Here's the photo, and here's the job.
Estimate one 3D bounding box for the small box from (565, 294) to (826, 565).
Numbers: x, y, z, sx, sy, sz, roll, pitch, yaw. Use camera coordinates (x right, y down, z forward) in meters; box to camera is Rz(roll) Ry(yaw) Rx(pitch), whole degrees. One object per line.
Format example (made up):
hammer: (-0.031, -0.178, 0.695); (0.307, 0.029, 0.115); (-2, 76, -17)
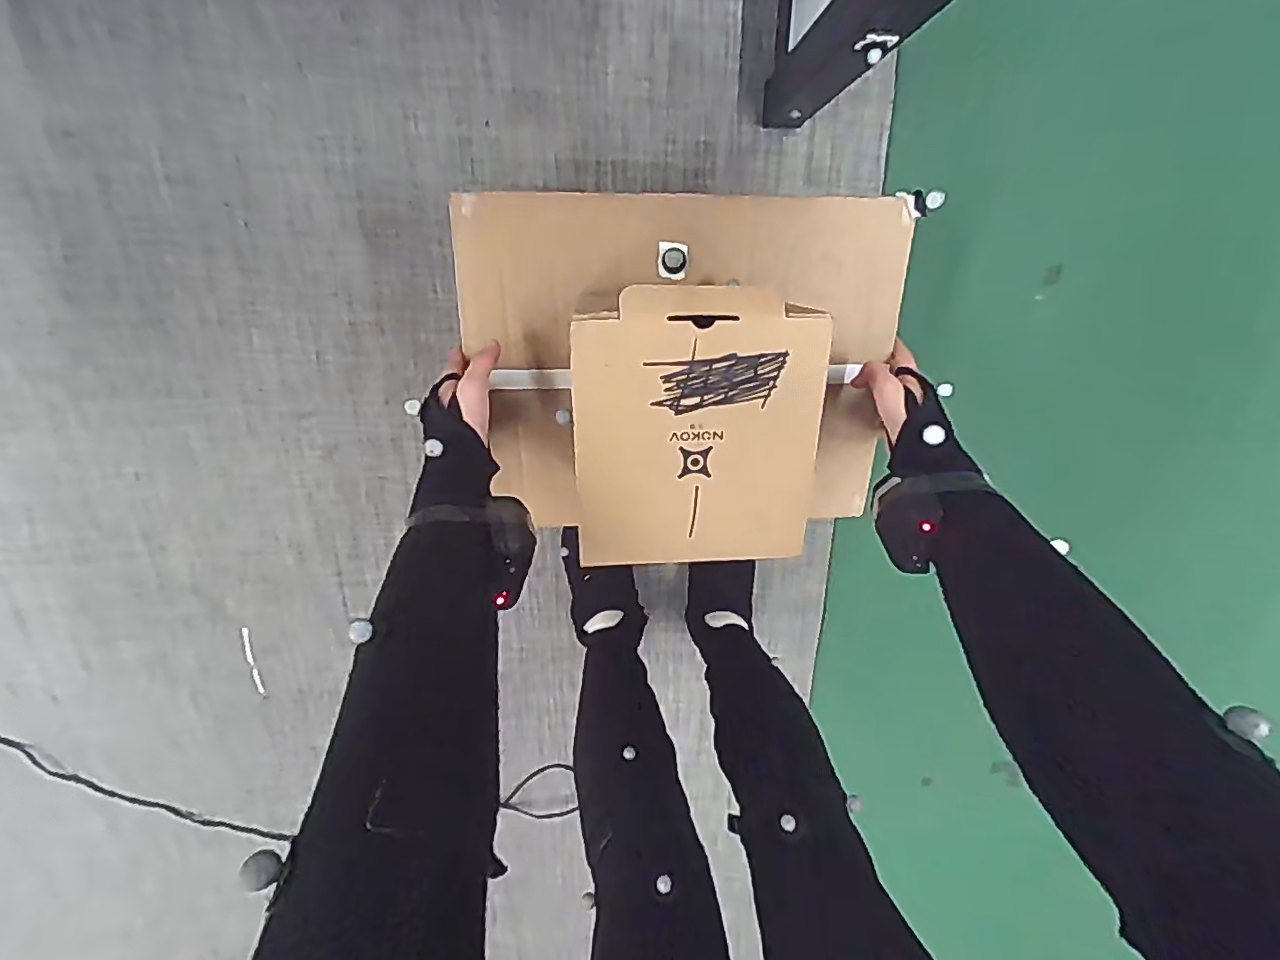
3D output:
small box: (0.027, -0.052, 0.429); (0.168, 0.176, 0.179); (-1, 113, -4)
